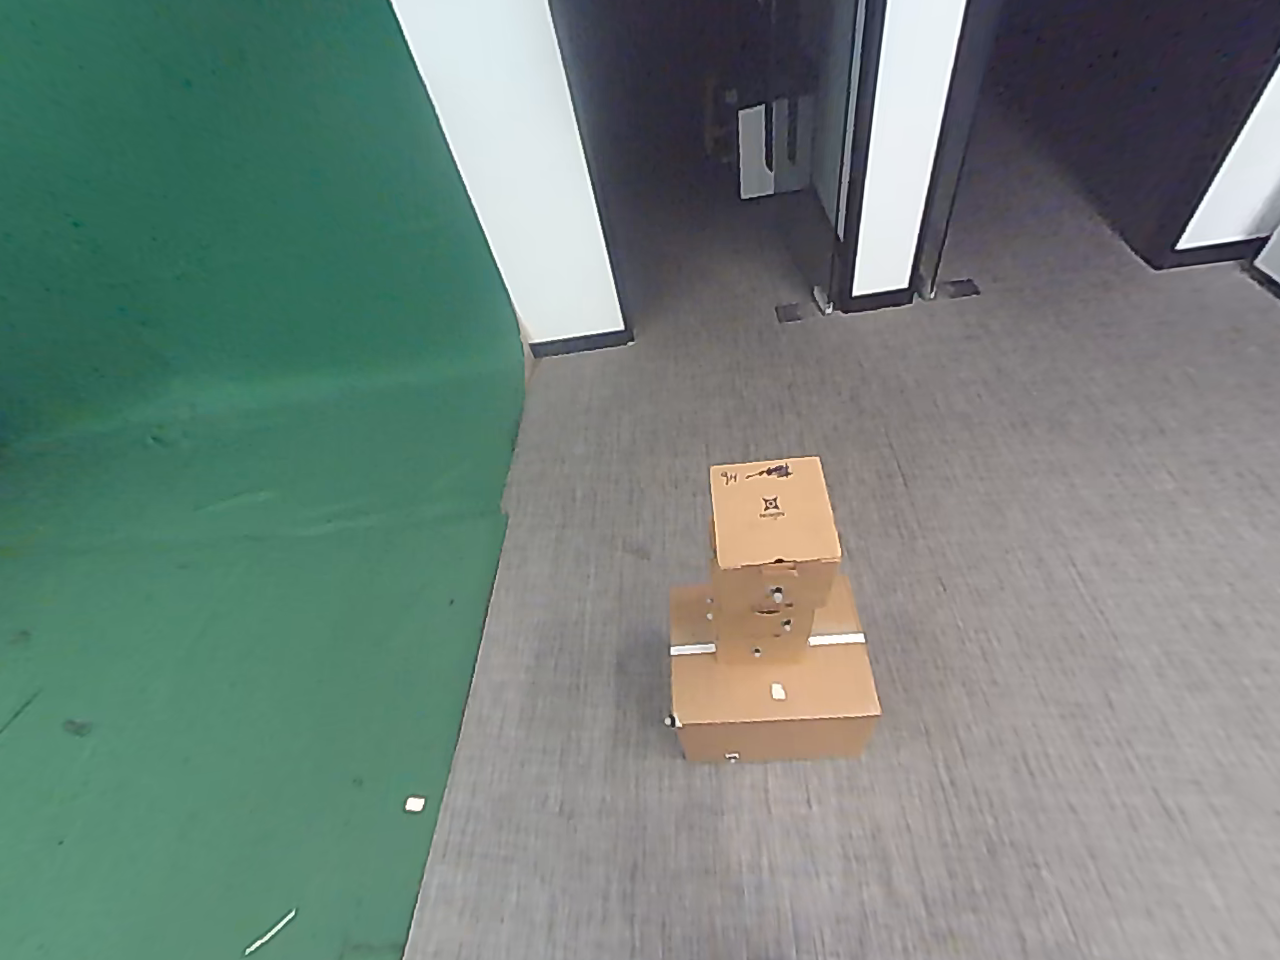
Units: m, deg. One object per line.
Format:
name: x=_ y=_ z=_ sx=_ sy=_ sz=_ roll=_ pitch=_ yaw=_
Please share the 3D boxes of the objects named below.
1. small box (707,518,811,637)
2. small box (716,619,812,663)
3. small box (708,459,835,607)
small box: x=0.214 y=0.178 z=0.983 sx=0.168 sy=0.176 sz=0.179 roll=-5 pitch=54 yaw=8
small box: x=0.244 y=0.270 z=1.114 sx=0.179 sy=0.176 sz=0.168 roll=-7 pitch=55 yaw=8
small box: x=0.198 y=0.092 z=0.845 sx=0.168 sy=0.176 sz=0.179 roll=-5 pitch=55 yaw=8
